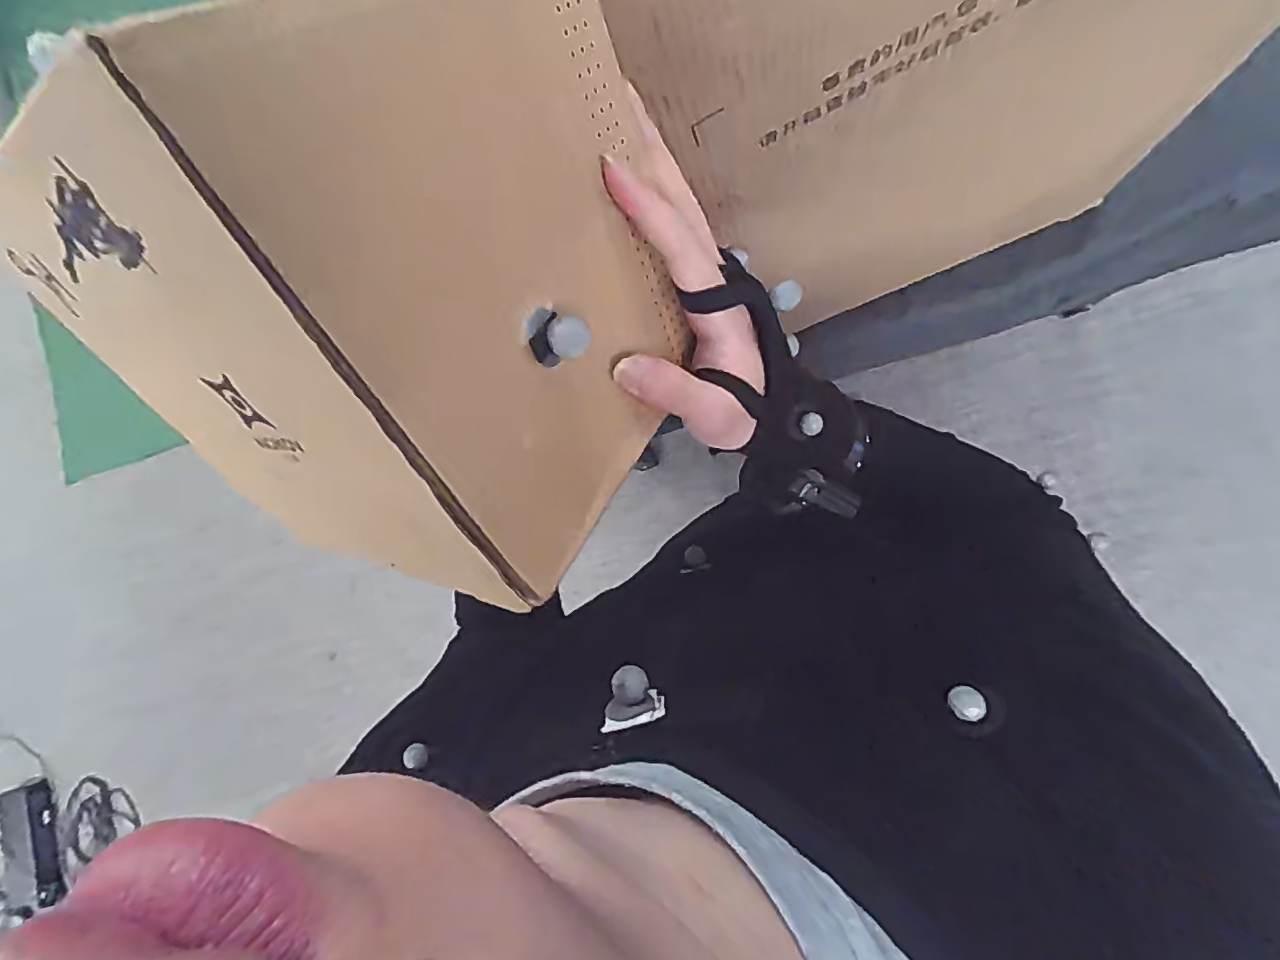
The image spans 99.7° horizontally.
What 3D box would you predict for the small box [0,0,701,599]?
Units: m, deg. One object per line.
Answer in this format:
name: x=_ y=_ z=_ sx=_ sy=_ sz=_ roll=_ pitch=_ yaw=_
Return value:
small box: x=-0.091 y=-0.079 z=0.237 sx=0.168 sy=0.179 sz=0.176 roll=5 pitch=48 yaw=33
